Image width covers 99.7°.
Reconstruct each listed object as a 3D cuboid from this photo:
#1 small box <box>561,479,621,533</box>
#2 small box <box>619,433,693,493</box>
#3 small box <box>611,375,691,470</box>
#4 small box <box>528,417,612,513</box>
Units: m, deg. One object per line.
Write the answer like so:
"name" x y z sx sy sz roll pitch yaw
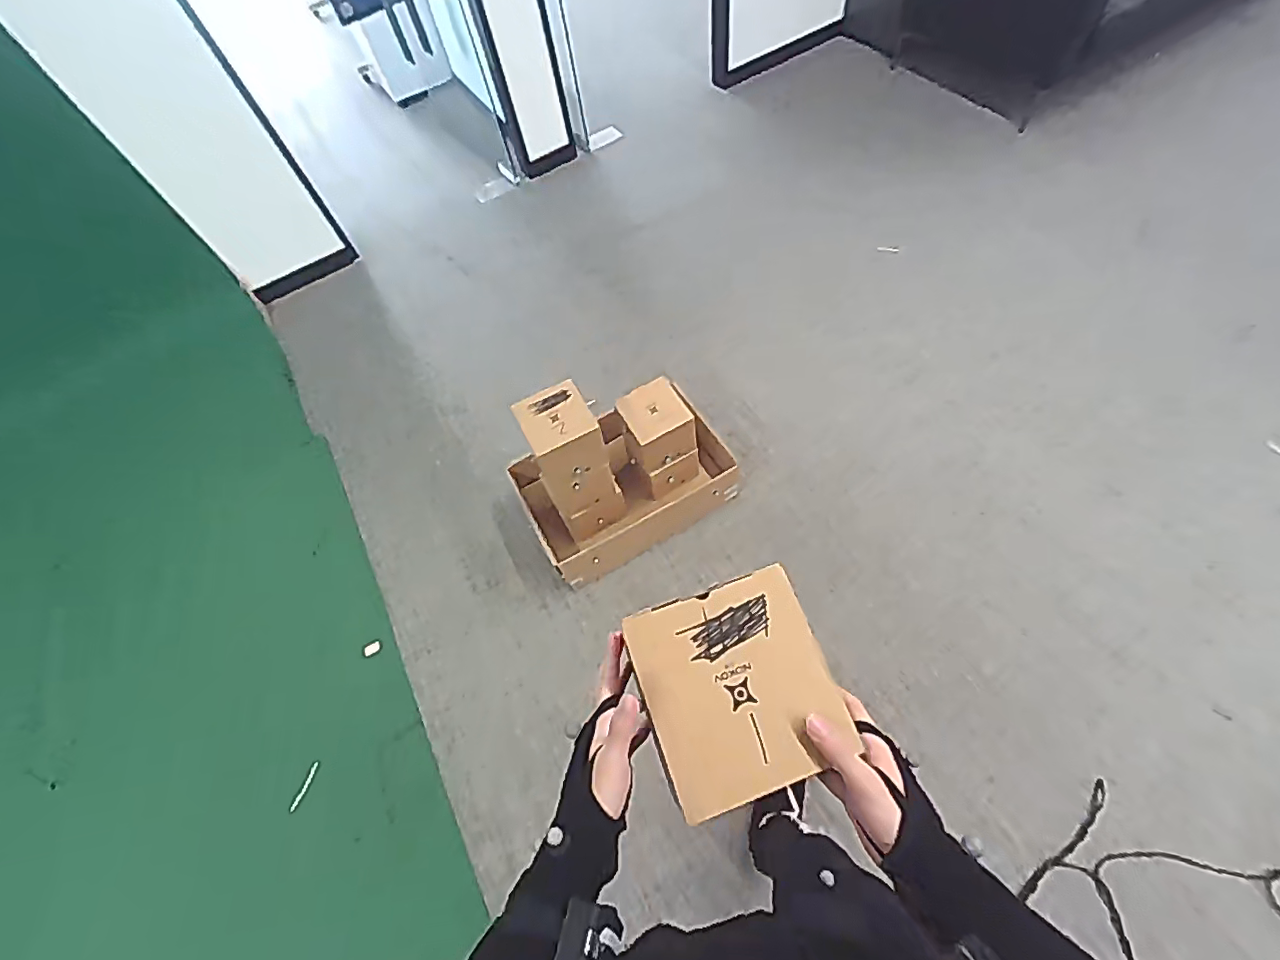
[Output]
"small box" -0.171 0.042 1.655 0.168 0.176 0.179 -29 62 -12
"small box" 0.056 -0.081 1.700 0.168 0.176 0.179 -29 62 -9
"small box" 0.035 -0.161 1.559 0.168 0.176 0.179 -28 62 -7
"small box" -0.191 -0.038 1.513 0.168 0.176 0.179 -25 60 -7
